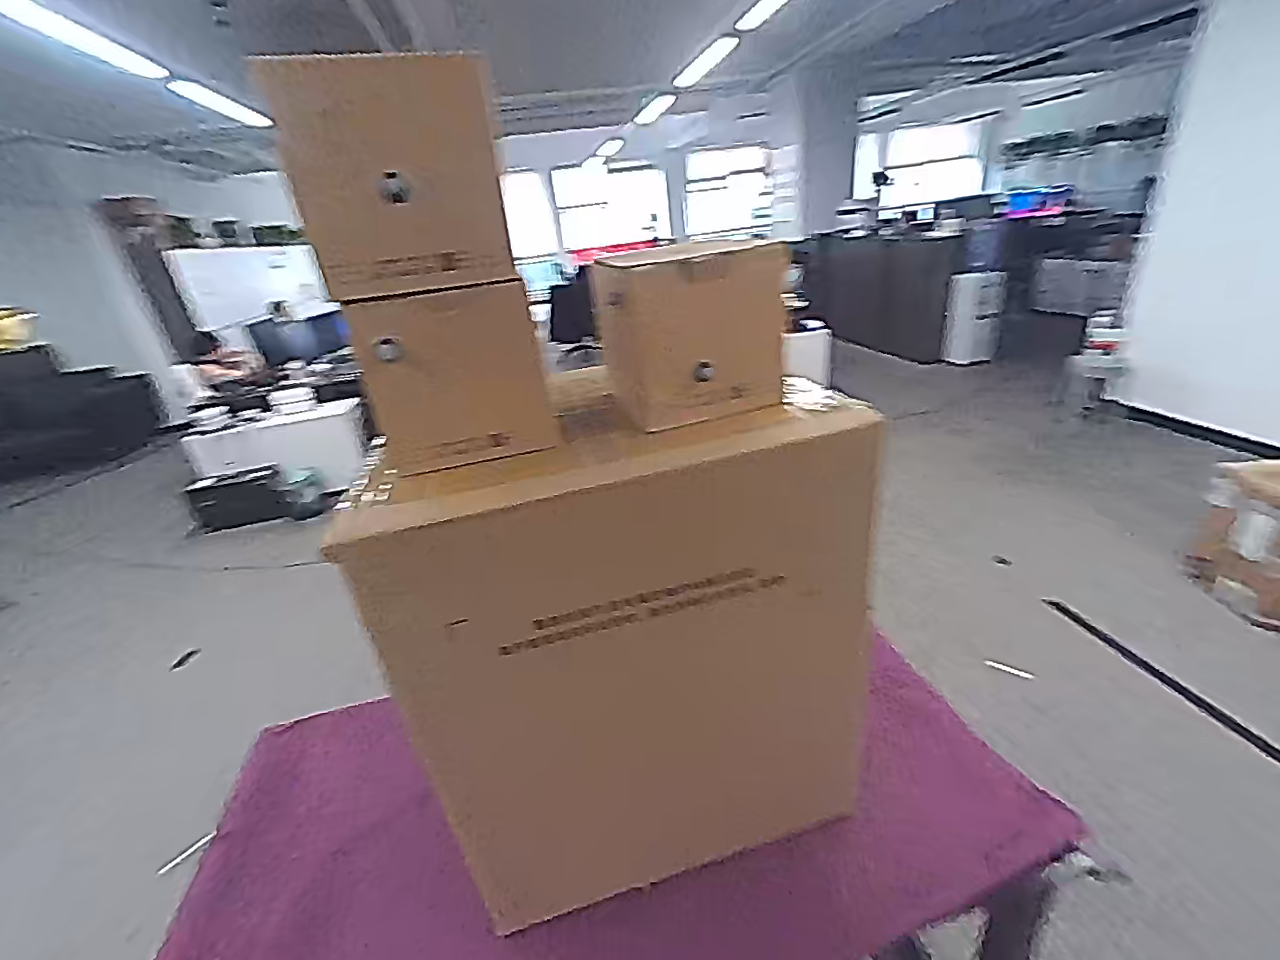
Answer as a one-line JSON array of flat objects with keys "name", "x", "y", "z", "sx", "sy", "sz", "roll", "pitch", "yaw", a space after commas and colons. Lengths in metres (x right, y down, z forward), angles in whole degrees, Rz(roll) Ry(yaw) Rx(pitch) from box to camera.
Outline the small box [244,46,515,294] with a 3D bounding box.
[{"name": "small box", "x": -0.220, "y": -0.272, "z": 0.504, "sx": 0.168, "sy": 0.176, "sz": 0.179, "roll": -13, "pitch": 26, "yaw": -15}]

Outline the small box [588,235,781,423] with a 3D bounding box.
[{"name": "small box", "x": 0.046, "y": -0.178, "z": 0.620, "sx": 0.168, "sy": 0.176, "sz": 0.179, "roll": -15, "pitch": 27, "yaw": -12}]
